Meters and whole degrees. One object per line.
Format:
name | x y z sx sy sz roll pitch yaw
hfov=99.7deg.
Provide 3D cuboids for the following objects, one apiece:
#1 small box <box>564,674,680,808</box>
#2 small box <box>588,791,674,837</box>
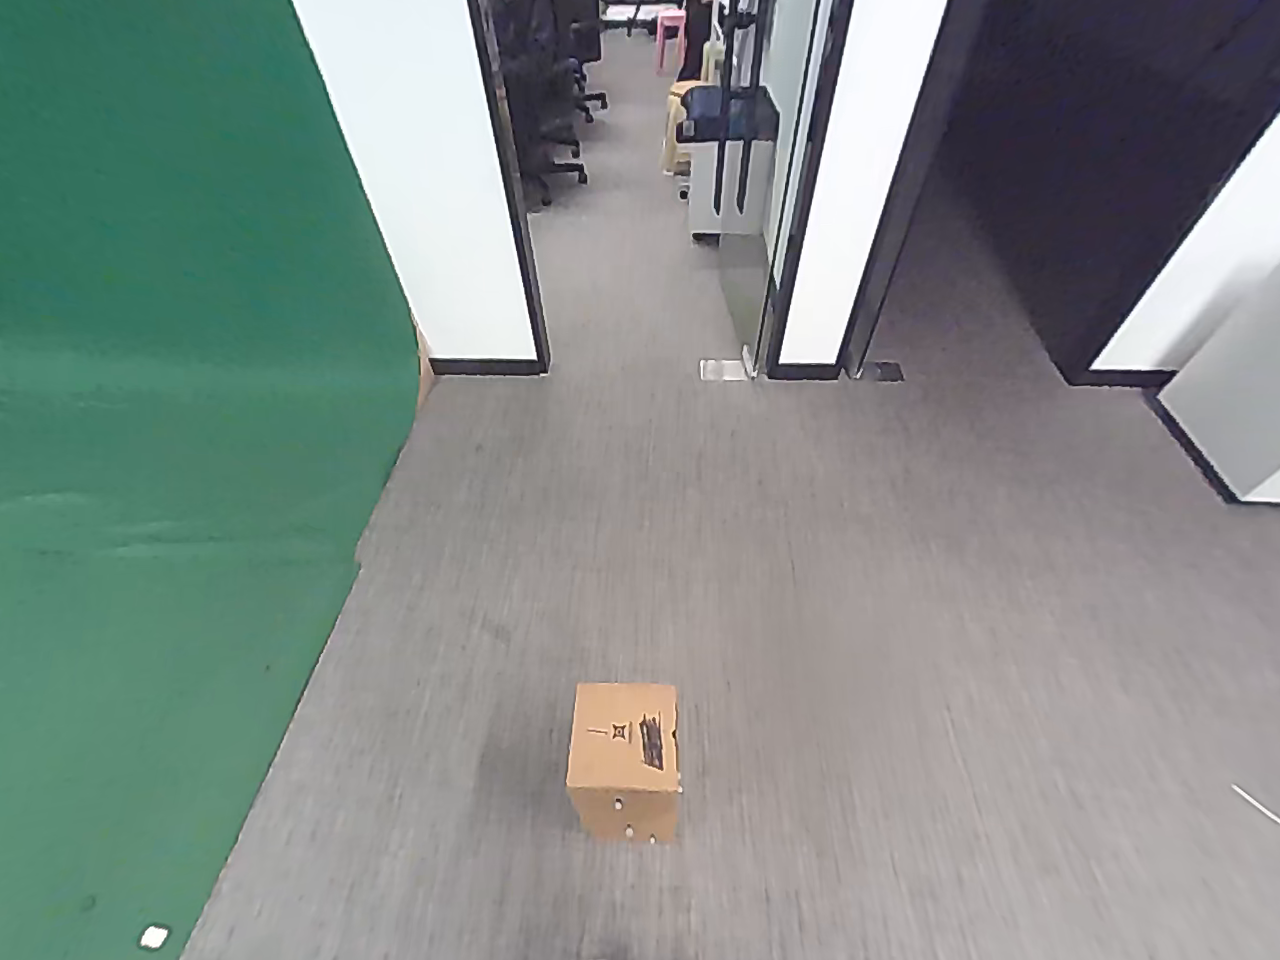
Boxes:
small box | -0.025 0.462 0.951 0.179 0.176 0.168 3 47 5
small box | -0.012 0.681 1.199 0.179 0.176 0.168 0 48 4
